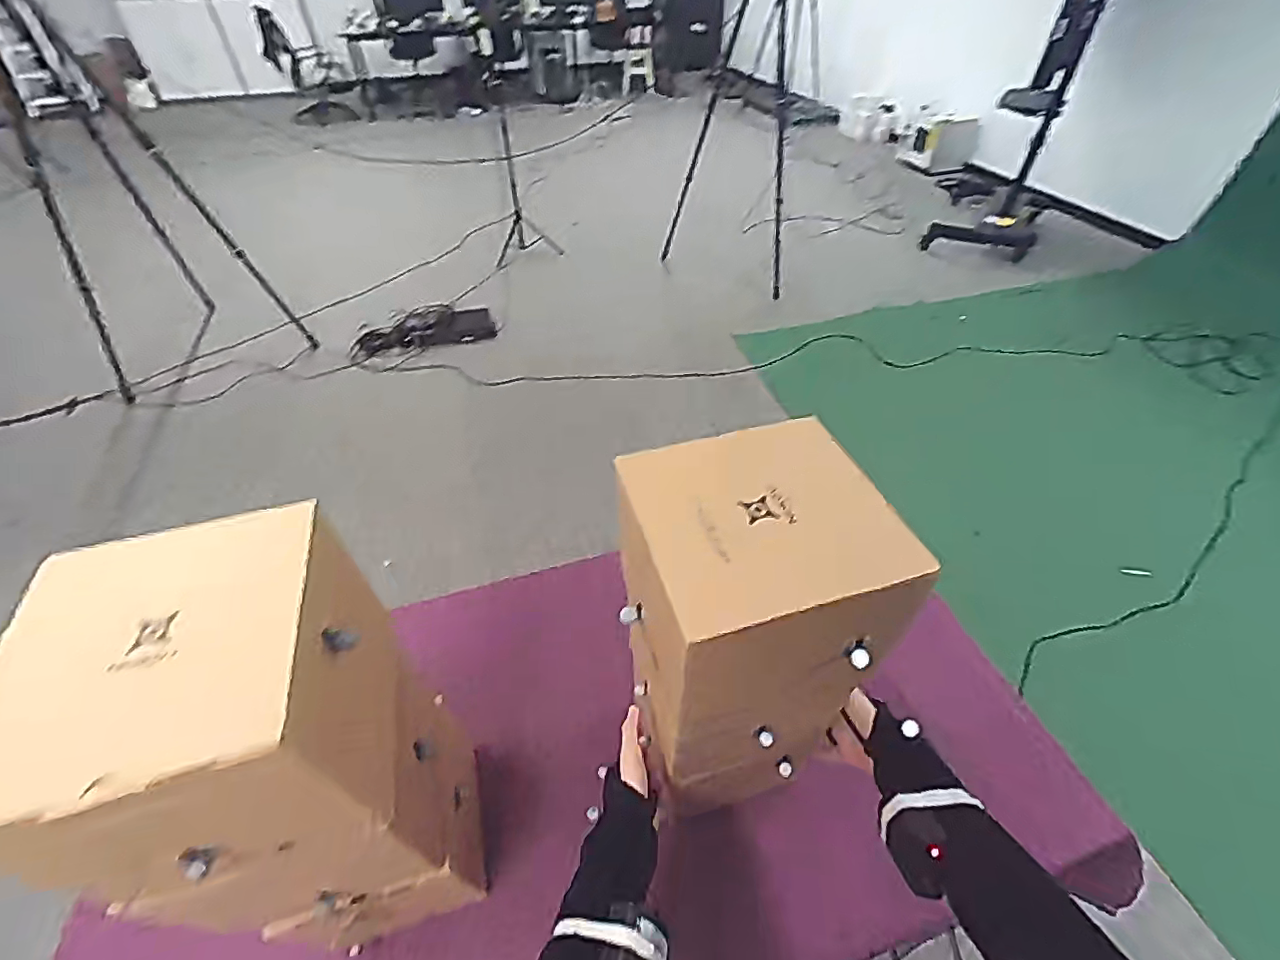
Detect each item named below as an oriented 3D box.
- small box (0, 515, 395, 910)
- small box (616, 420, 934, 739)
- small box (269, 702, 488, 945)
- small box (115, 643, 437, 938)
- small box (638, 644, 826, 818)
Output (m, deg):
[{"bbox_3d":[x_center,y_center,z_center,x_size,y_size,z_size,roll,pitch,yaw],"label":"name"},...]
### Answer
[{"bbox_3d":[-0.282,0.156,0.373,0.168,0.176,0.179,-14,48,-12],"label":"small box"},{"bbox_3d":[0.086,0.080,0.438,0.179,0.176,0.168,-13,47,-10],"label":"small box"},{"bbox_3d":[-0.276,0.387,0.606,0.168,0.176,0.179,-13,46,-12],"label":"small box"},{"bbox_3d":[-0.288,0.276,0.484,0.179,0.176,0.168,-12,46,-12],"label":"small box"},{"bbox_3d":[0.100,0.296,0.684,0.179,0.176,0.168,-13,47,-11],"label":"small box"}]
